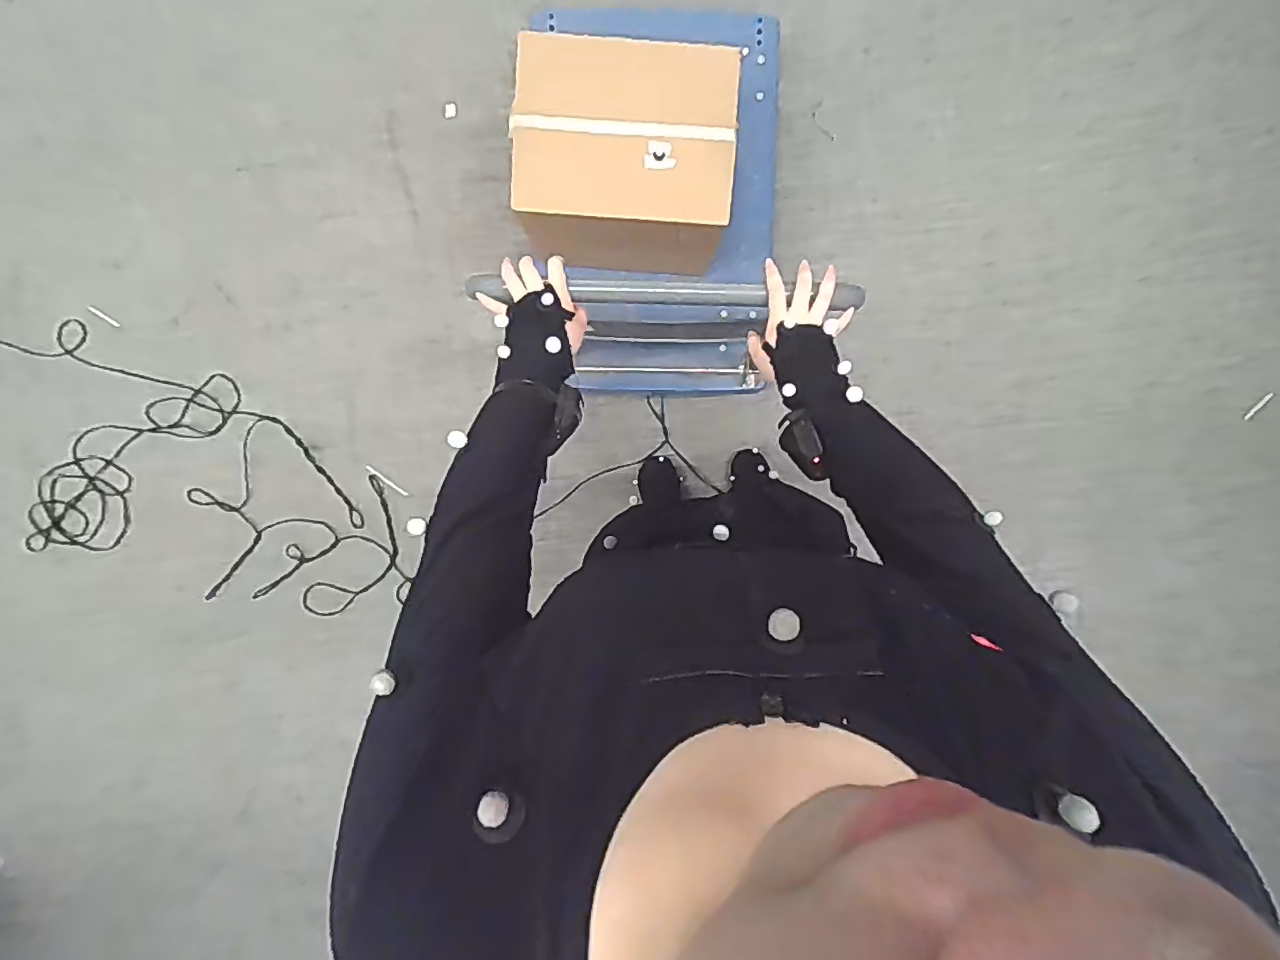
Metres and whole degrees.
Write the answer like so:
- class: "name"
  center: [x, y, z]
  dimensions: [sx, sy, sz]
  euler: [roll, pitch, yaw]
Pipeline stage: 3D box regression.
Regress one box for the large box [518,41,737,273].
- class: "large box"
  center: [-0.029, -0.651, 1.149]
  dimensions: [0.408, 0.320, 0.320]
  euler: [3, 94, -1]
